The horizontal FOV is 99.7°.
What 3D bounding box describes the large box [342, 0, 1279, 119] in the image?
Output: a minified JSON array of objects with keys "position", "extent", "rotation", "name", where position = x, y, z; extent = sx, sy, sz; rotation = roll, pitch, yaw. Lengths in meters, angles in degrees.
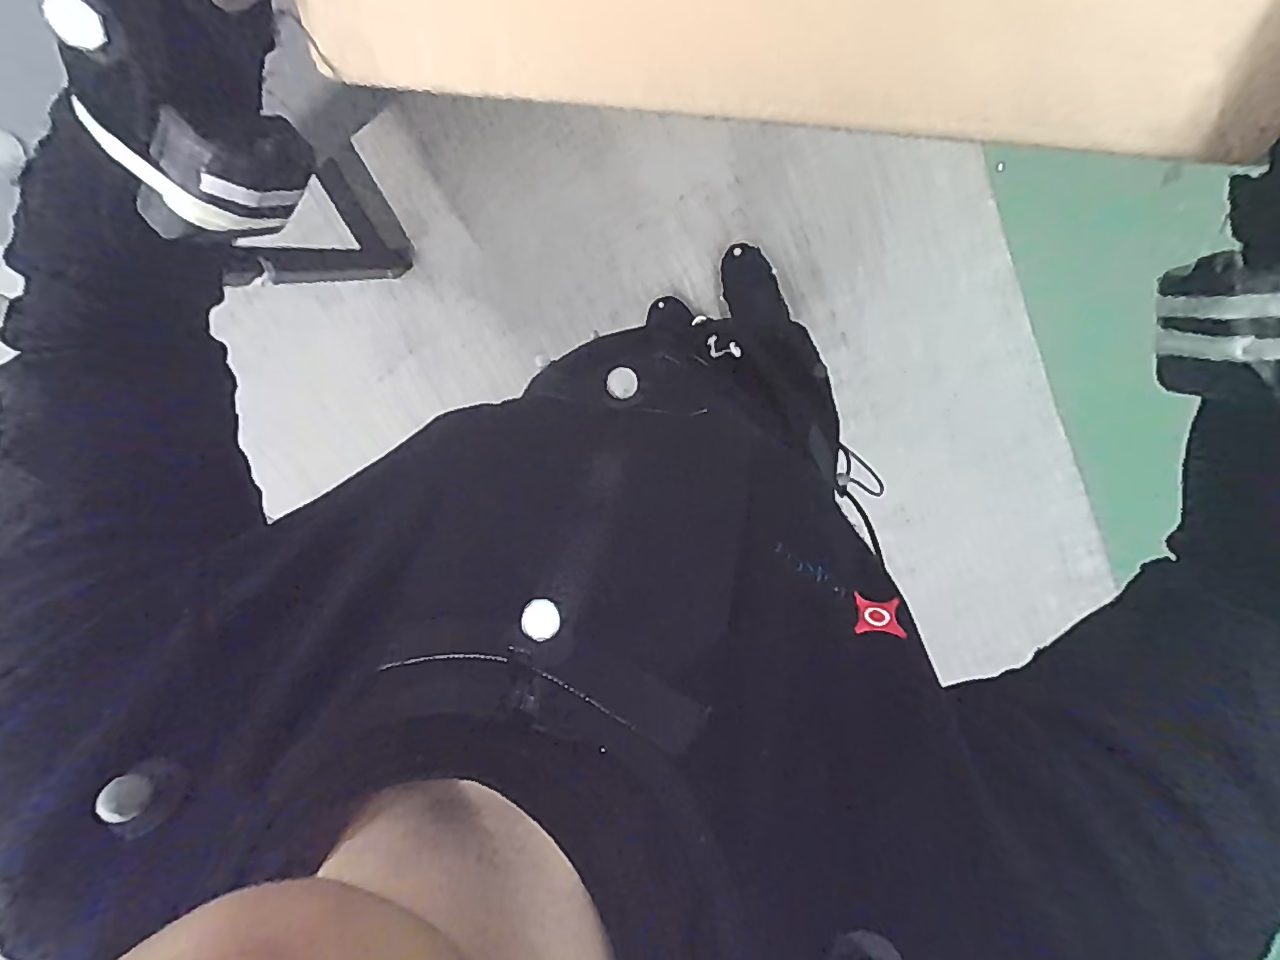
[{"position":[0.090,-0.380,0.246],"extent":[0.408,0.320,0.320],"rotation":[6,131,1],"name":"large box"}]
